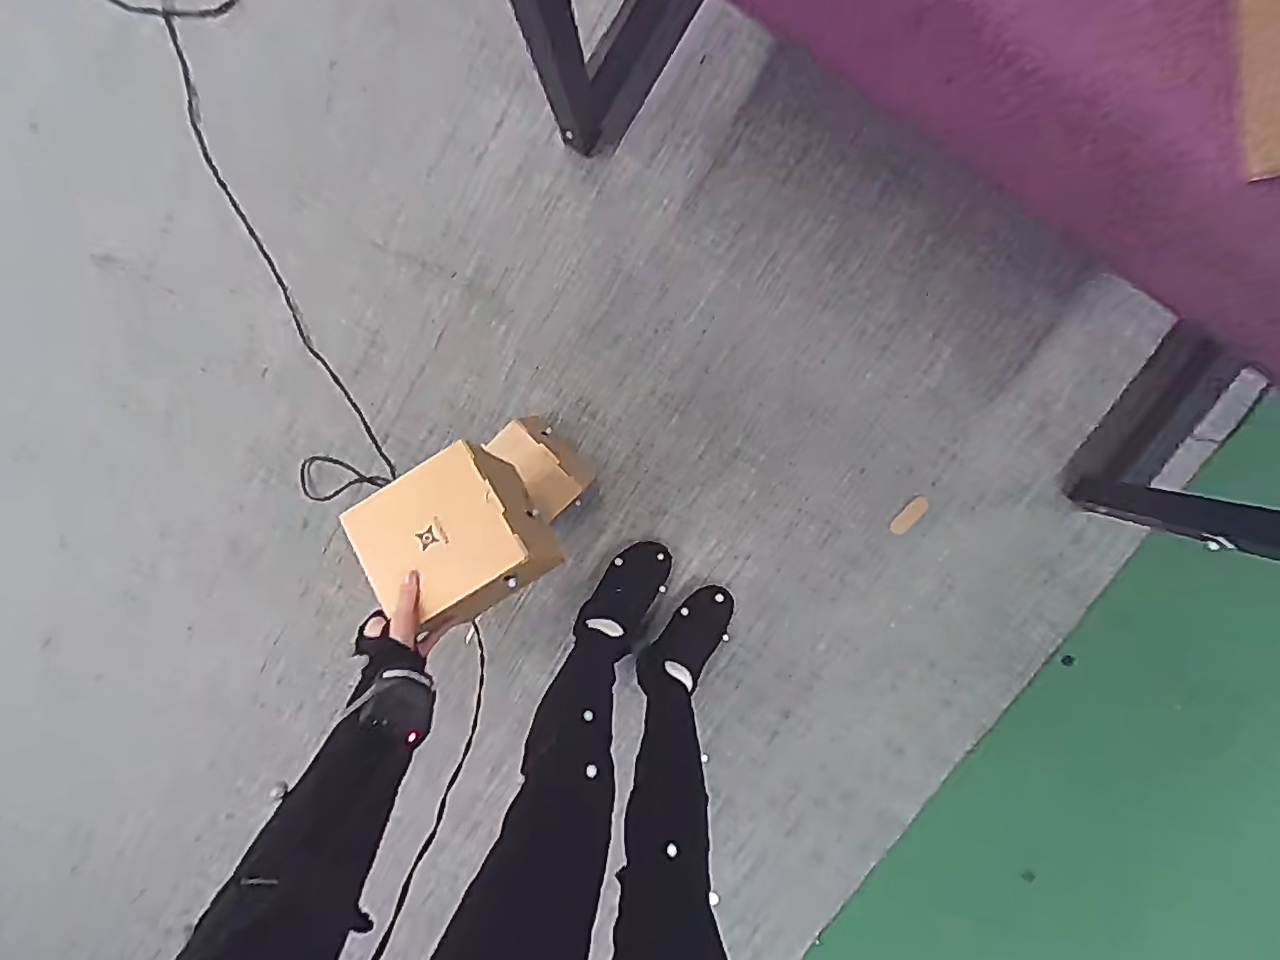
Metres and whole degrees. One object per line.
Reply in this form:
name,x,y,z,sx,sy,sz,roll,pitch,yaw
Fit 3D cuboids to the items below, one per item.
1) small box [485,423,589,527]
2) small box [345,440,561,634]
small box,-0.207,0.010,0.975,0.179,0.176,0.168,-42,94,8
small box,-0.227,0.079,0.699,0.179,0.176,0.168,-33,78,-1
